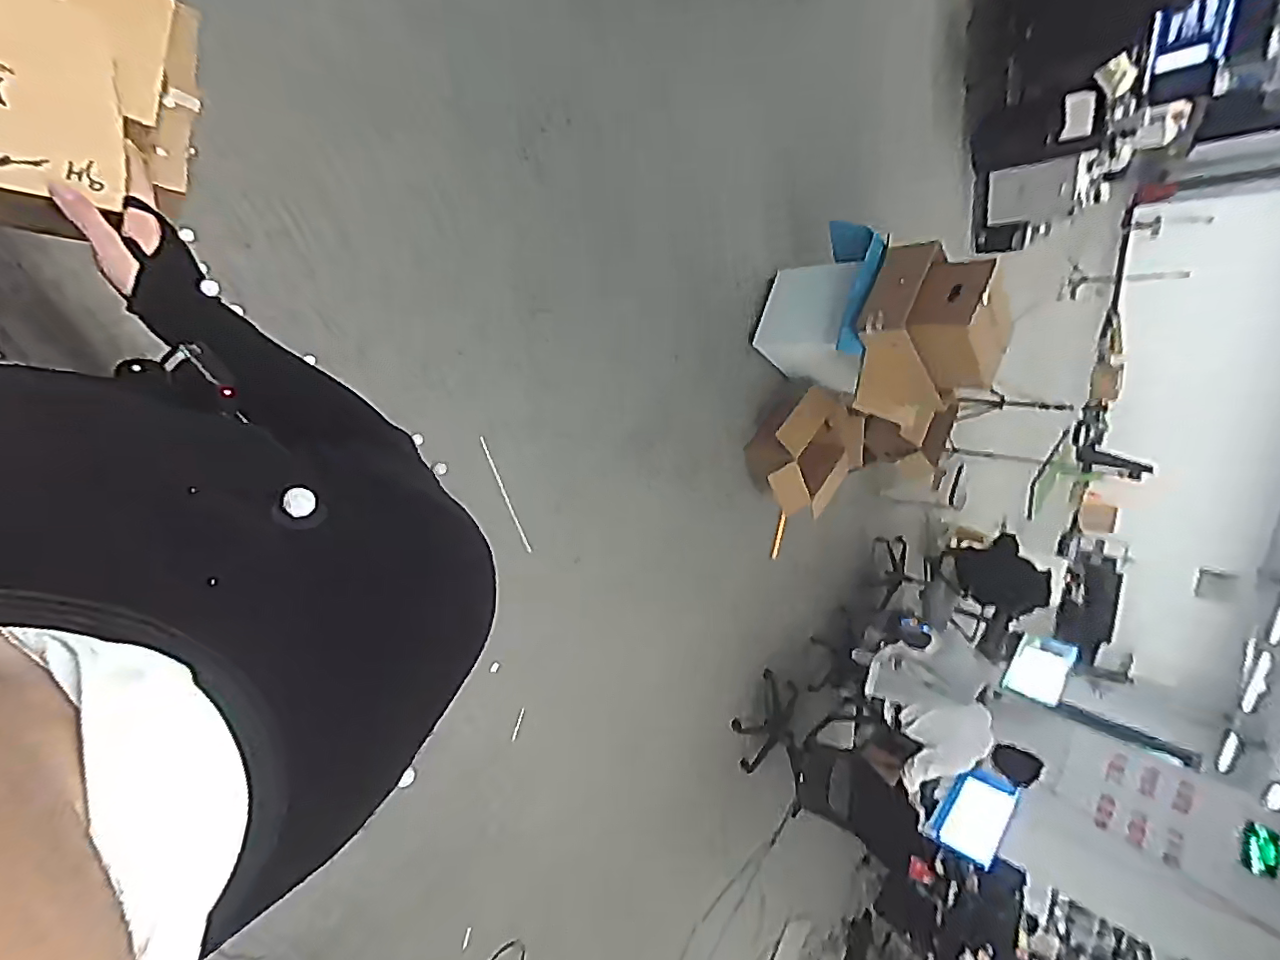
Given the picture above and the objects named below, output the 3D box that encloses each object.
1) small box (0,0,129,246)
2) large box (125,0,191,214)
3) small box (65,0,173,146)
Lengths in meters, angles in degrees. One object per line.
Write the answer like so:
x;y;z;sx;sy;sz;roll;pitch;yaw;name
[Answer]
-0.593;-0.336;0.497;0.168;0.176;0.179;-5;101;-45;small box
-1.041;-0.702;0.925;0.408;0.320;0.320;4;98;-43;large box
-0.726;-0.559;0.689;0.179;0.176;0.168;9;96;-43;small box
